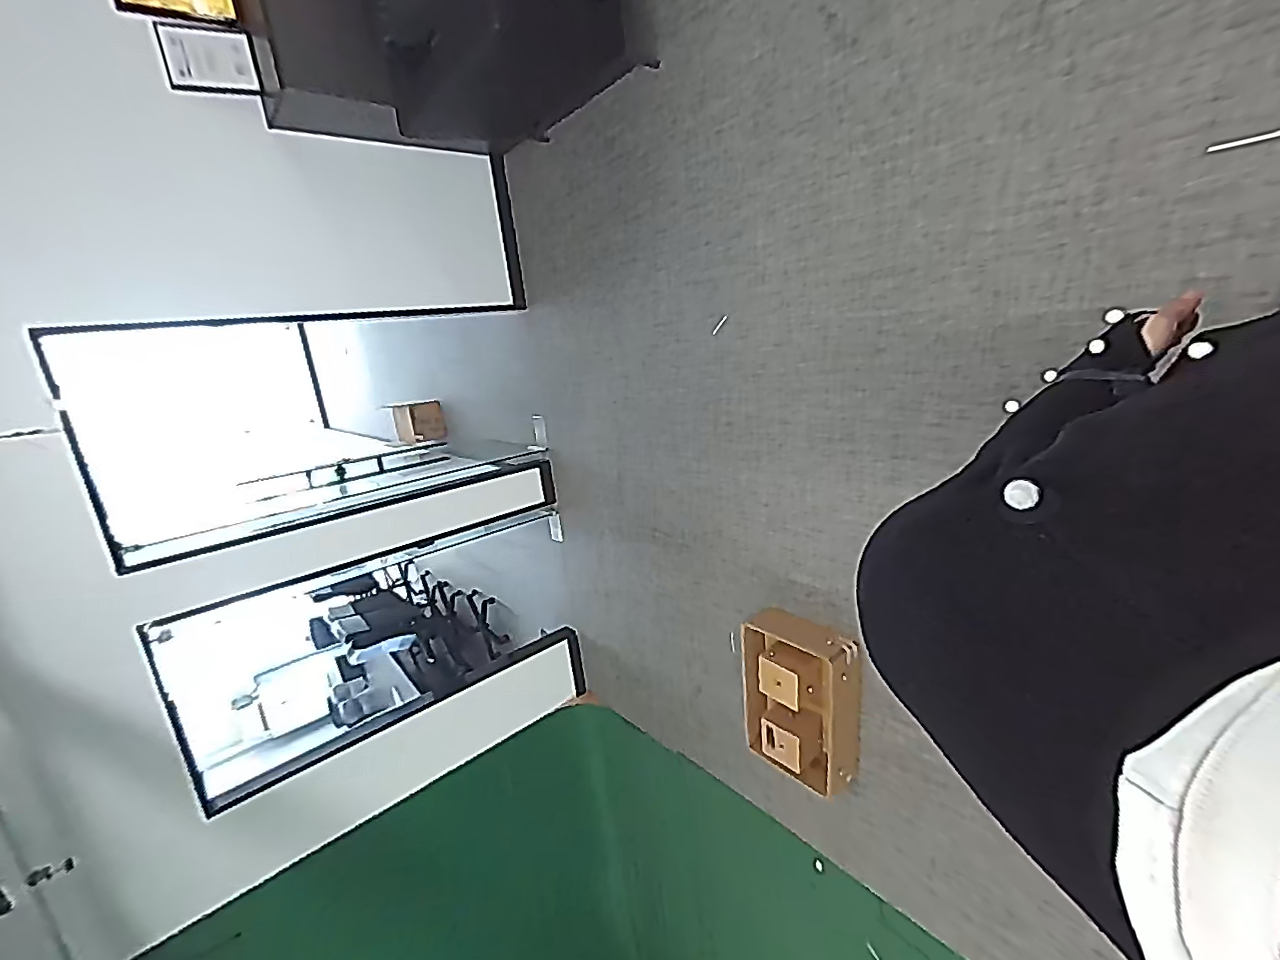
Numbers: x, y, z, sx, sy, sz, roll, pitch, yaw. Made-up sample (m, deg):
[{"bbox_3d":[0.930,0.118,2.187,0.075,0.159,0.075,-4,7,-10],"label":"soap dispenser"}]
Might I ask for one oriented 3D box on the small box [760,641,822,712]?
[{"bbox_3d":[0.587,0.751,2.087,0.179,0.176,0.168,14,115,49],"label":"small box"}]
